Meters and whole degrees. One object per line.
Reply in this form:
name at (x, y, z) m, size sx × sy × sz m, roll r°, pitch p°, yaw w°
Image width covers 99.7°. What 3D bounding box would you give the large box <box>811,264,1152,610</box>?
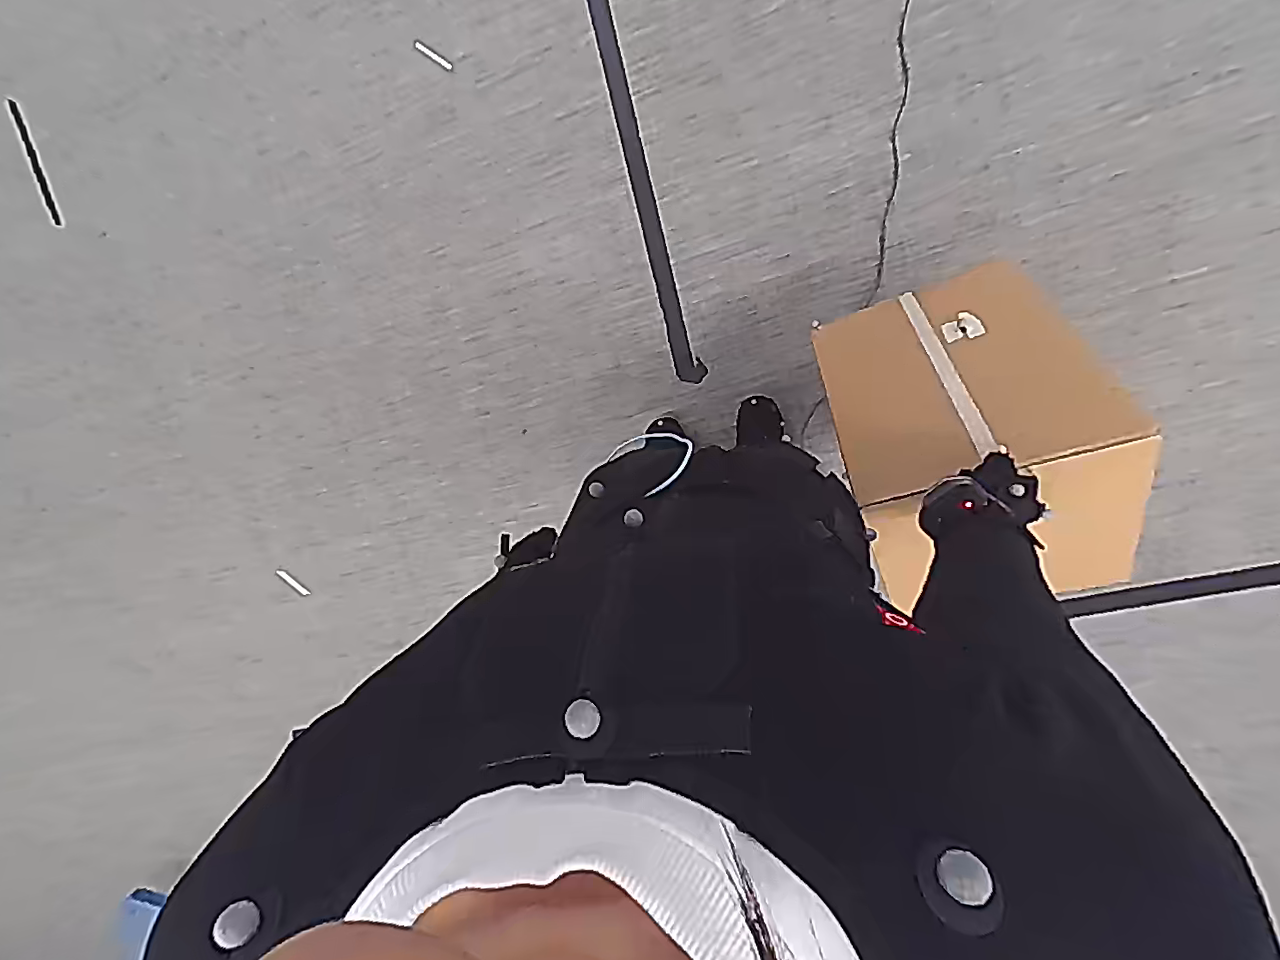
large box at (0.499, -0.063, 0.865) m, size 0.320 × 0.408 × 0.320 m, roll -17°, pitch 133°, yaw 21°
